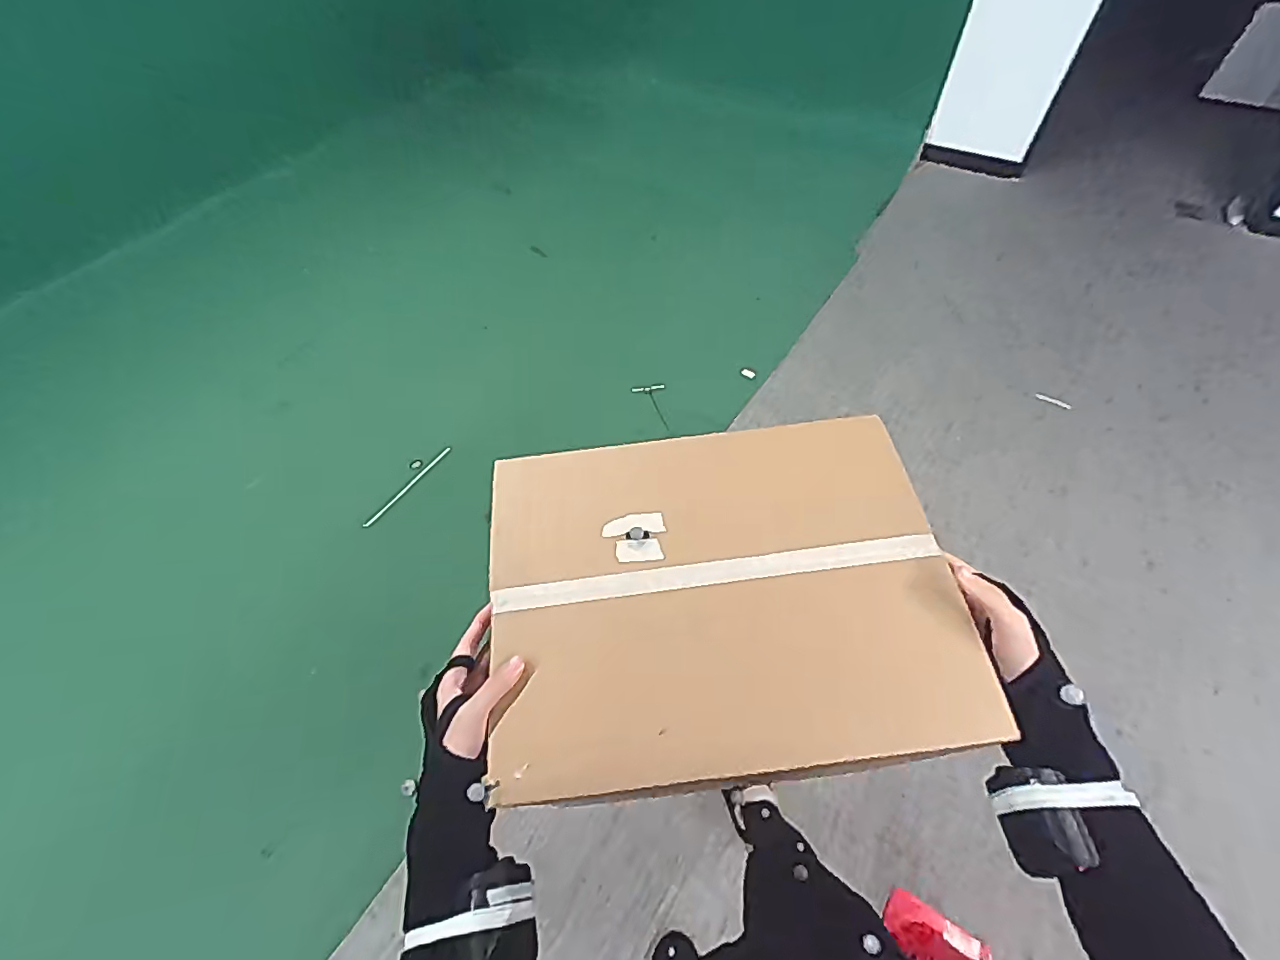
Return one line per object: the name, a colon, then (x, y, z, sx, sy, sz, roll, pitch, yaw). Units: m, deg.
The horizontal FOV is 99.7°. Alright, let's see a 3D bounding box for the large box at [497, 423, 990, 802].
large box: (0.078, 0.169, 0.629, 0.408, 0.320, 0.320, -7, 59, 0)
